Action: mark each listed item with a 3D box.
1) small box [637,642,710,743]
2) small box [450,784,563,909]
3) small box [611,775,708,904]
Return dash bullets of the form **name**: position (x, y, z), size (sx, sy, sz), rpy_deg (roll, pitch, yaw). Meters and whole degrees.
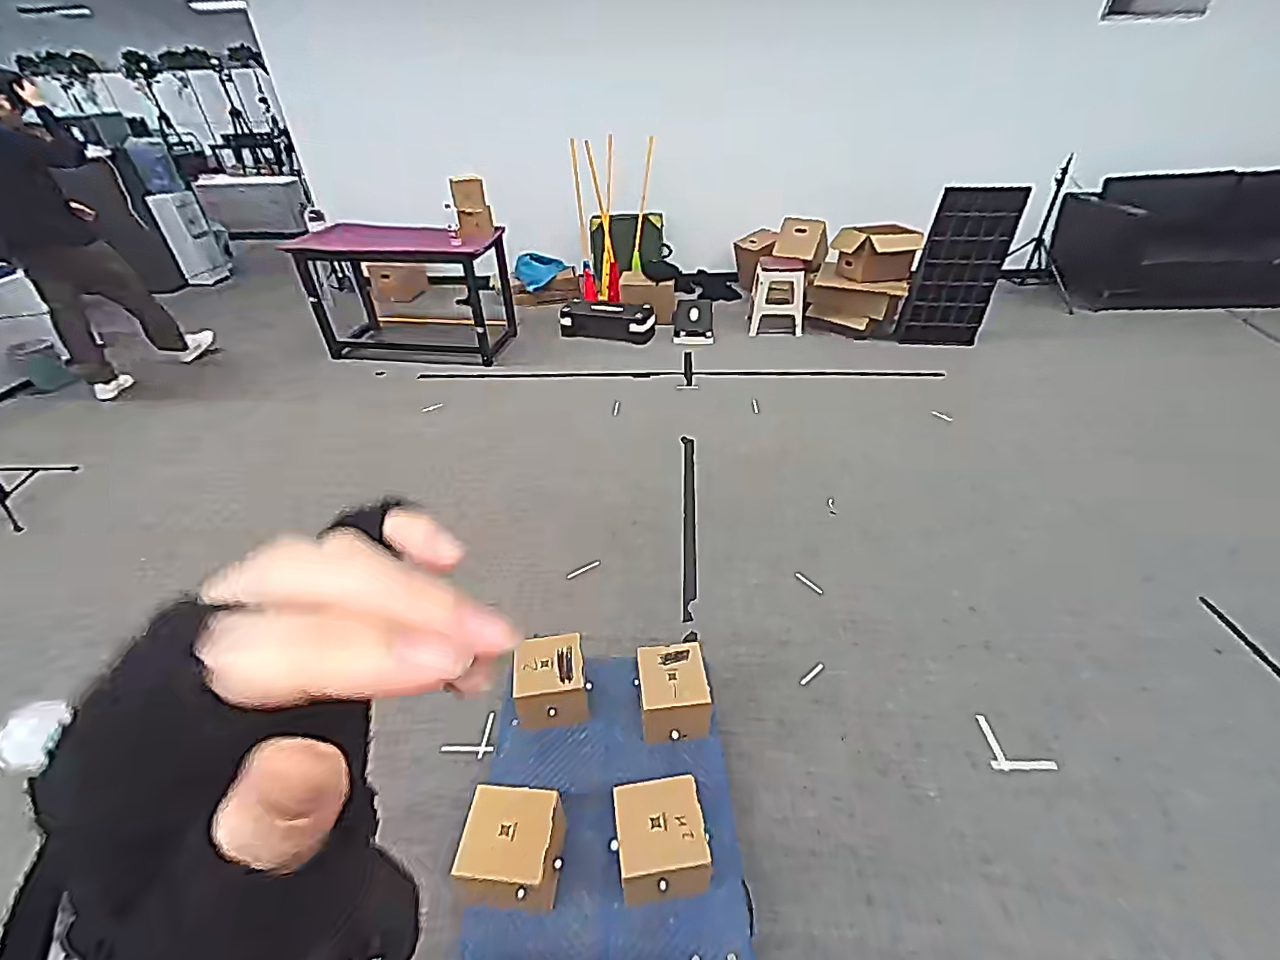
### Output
- **small box**: position (0.080, 0.544, 1.390), size (0.168, 0.176, 0.179), rpy_deg (-4, 38, -3)
- **small box**: position (-0.266, 0.759, 1.121), size (0.179, 0.176, 0.168), rpy_deg (3, 37, 4)
- **small box**: position (0.038, 0.747, 1.123), size (0.179, 0.176, 0.168), rpy_deg (-6, 37, -5)
